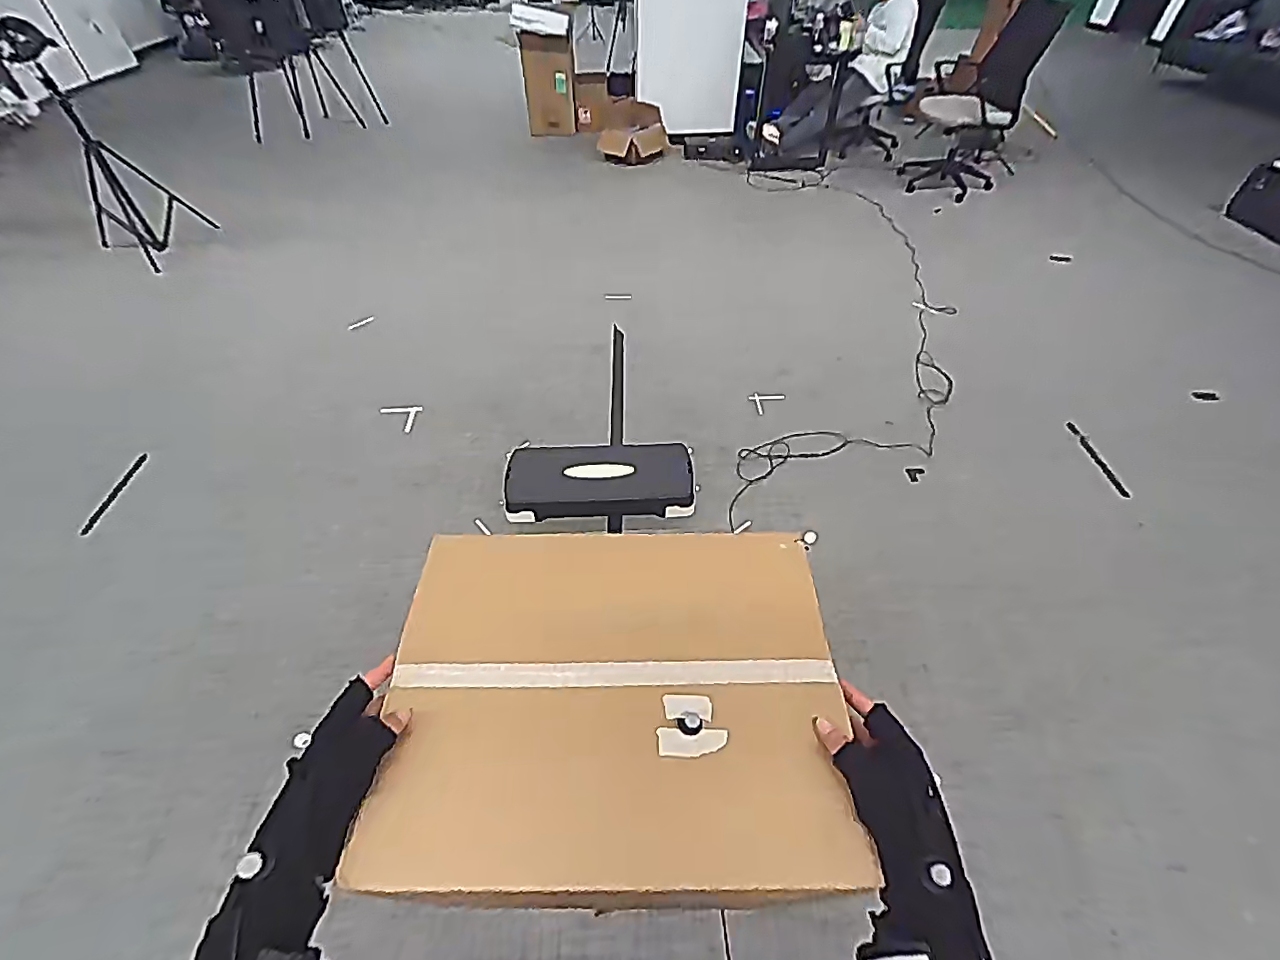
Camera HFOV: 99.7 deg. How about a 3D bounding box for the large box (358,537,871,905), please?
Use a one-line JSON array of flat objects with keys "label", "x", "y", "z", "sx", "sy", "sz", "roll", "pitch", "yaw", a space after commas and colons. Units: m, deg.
[{"label": "large box", "x": -0.023, "y": 0.279, "z": 0.620, "sx": 0.408, "sy": 0.320, "sz": 0.320, "roll": 0, "pitch": 50, "yaw": 0}]
